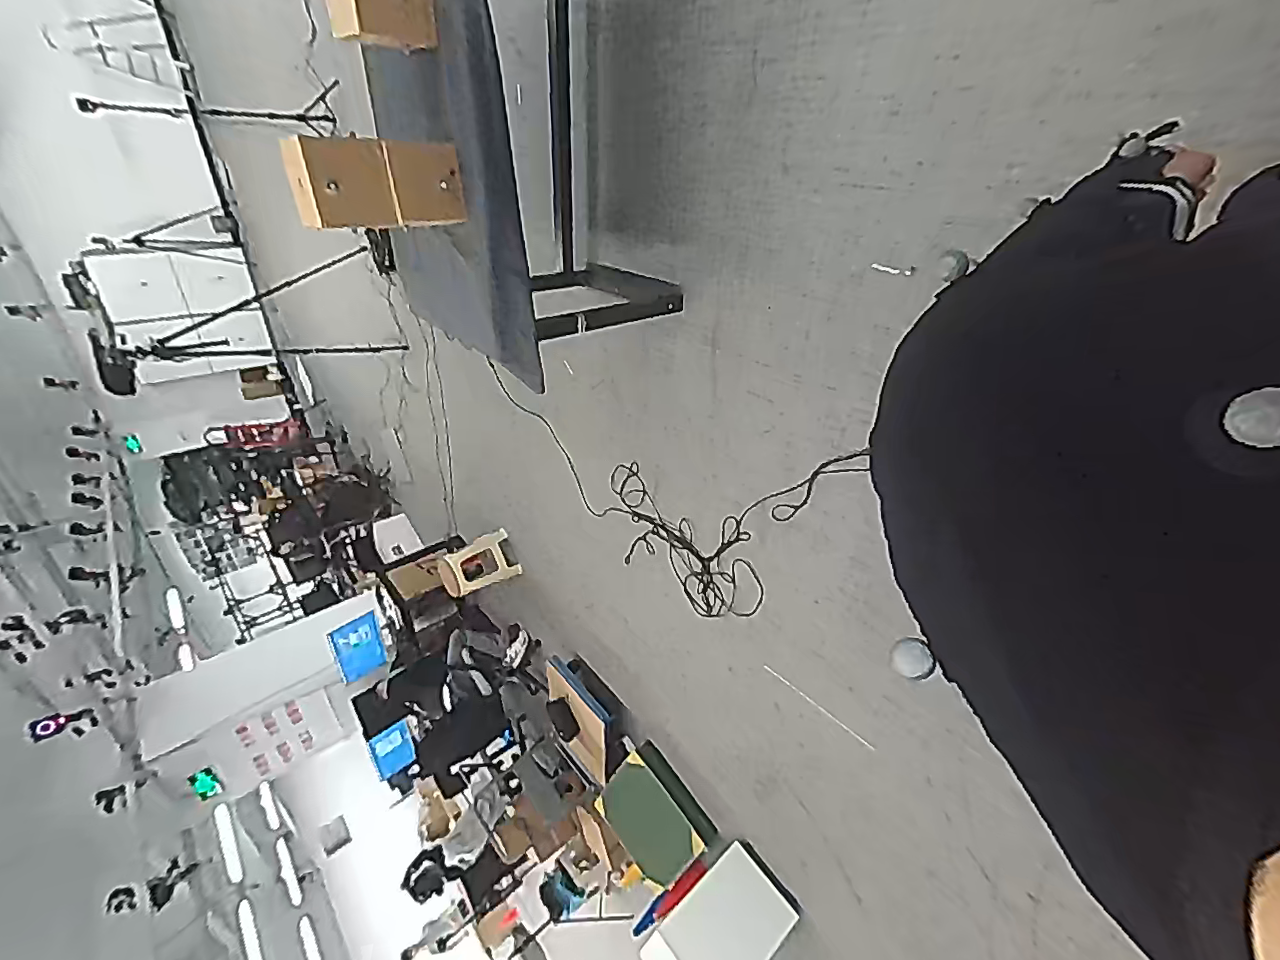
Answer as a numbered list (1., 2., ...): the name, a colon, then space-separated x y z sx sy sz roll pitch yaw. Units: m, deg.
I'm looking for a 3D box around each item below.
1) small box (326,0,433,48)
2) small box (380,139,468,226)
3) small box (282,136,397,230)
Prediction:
1. small box: -0.551 -1.029 1.140 0.179 0.176 0.168 32 133 38
2. small box: -0.539 -0.710 1.305 0.179 0.176 0.168 21 125 44
3. small box: -0.670 -0.666 1.219 0.168 0.176 0.179 25 127 41
